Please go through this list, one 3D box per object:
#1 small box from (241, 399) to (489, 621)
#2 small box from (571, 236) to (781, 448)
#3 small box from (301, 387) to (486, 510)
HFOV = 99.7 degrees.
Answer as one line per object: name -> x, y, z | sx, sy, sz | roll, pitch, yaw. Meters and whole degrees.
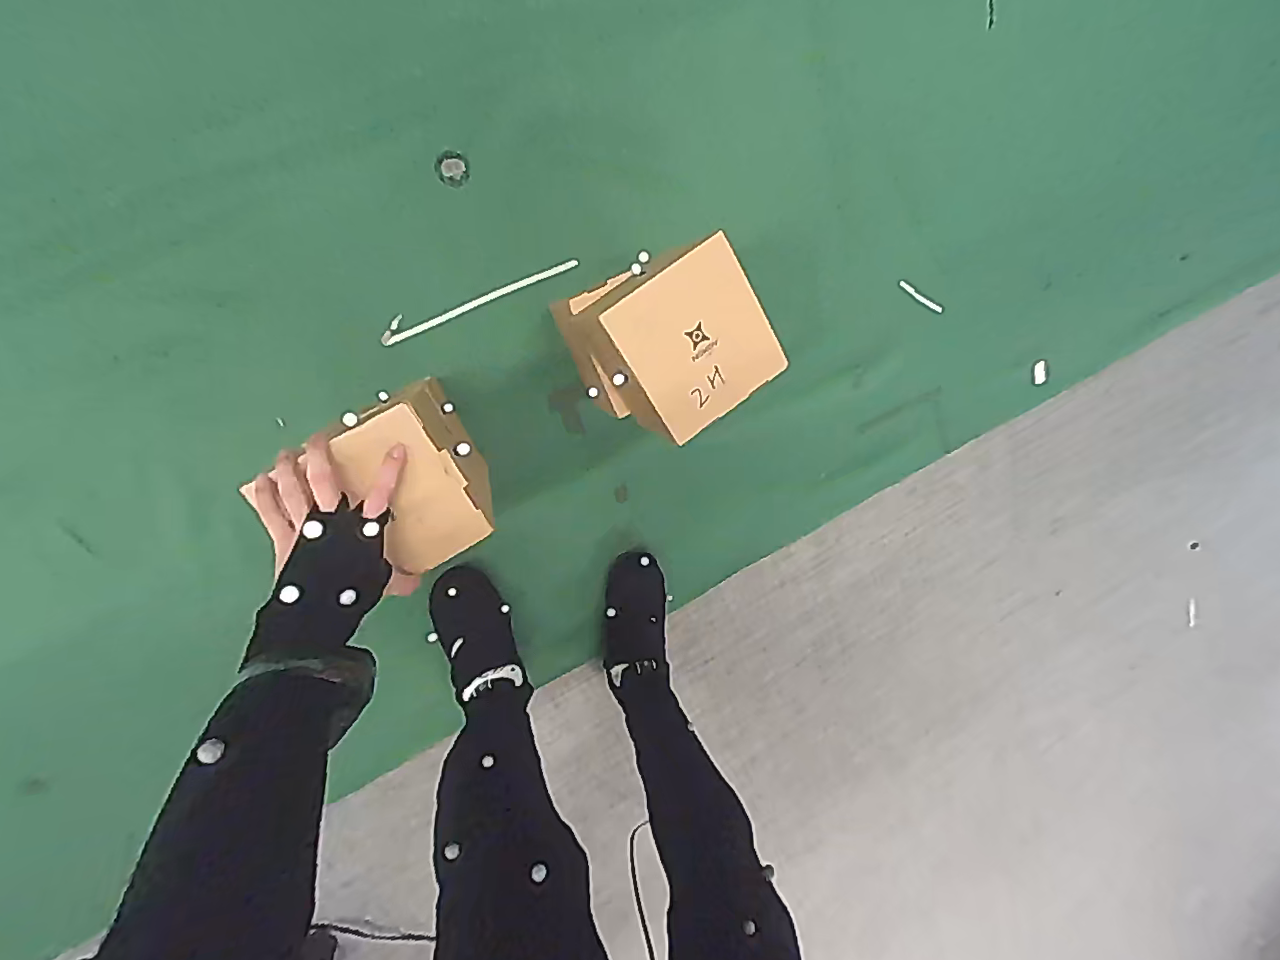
small box -> -0.295, 0.020, 0.622 | 0.179, 0.176, 0.168 | -31, 110, -8
small box -> 0.034, -0.167, 0.671 | 0.168, 0.176, 0.179 | -36, 112, -4
small box -> -0.334, -0.020, 0.778 | 0.168, 0.176, 0.179 | -29, 109, -7
